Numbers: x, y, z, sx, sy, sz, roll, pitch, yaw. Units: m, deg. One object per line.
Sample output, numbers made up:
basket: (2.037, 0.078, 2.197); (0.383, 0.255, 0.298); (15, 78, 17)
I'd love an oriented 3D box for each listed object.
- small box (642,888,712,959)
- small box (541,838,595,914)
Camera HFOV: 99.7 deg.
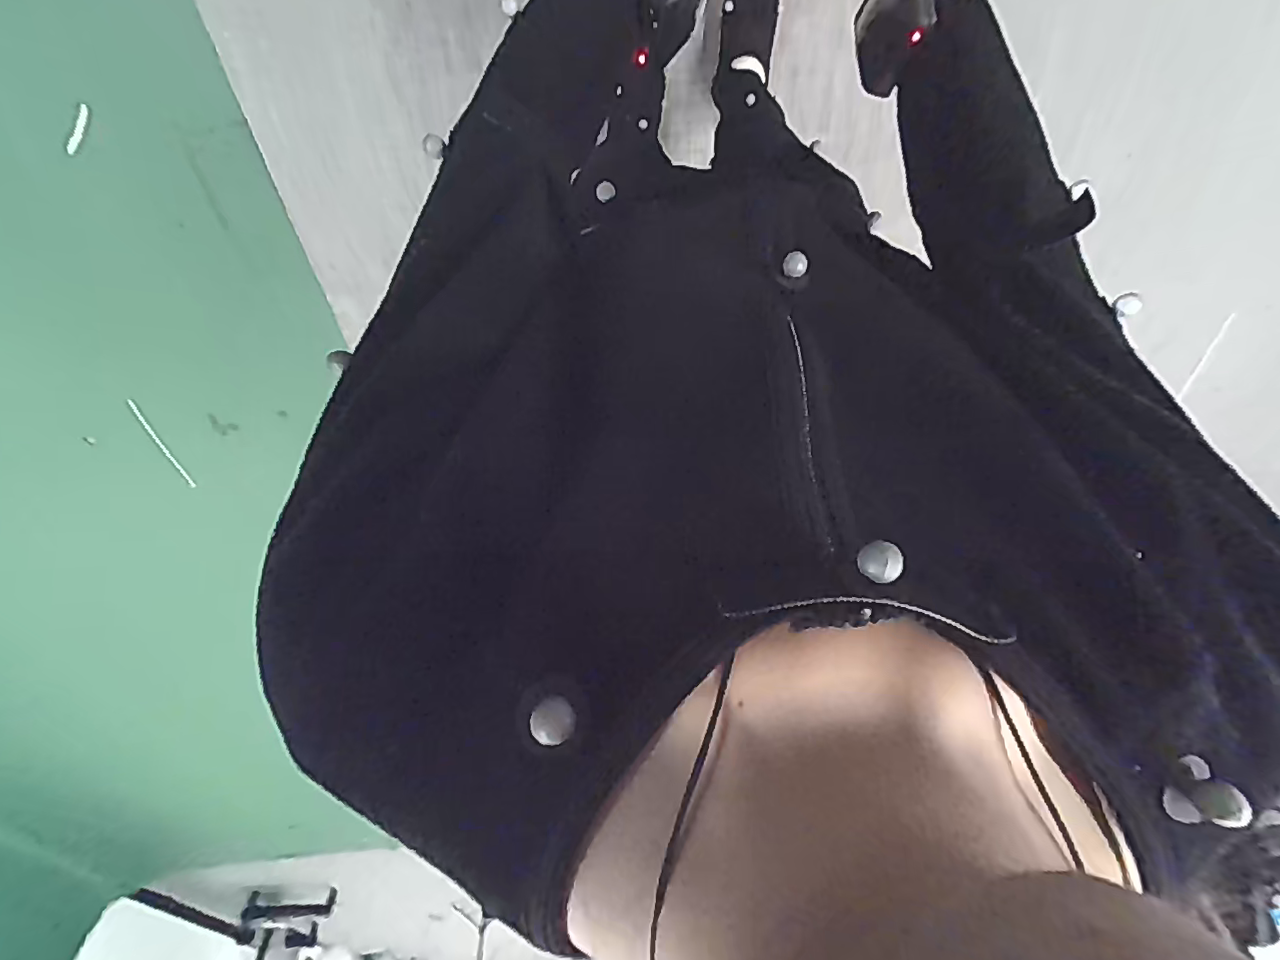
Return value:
small box: (0.110, 1.393, 1.685); (0.179, 0.176, 0.168); (5, 128, -9)
small box: (-0.237, 1.315, 1.802); (0.168, 0.176, 0.179); (-2, 129, -4)
